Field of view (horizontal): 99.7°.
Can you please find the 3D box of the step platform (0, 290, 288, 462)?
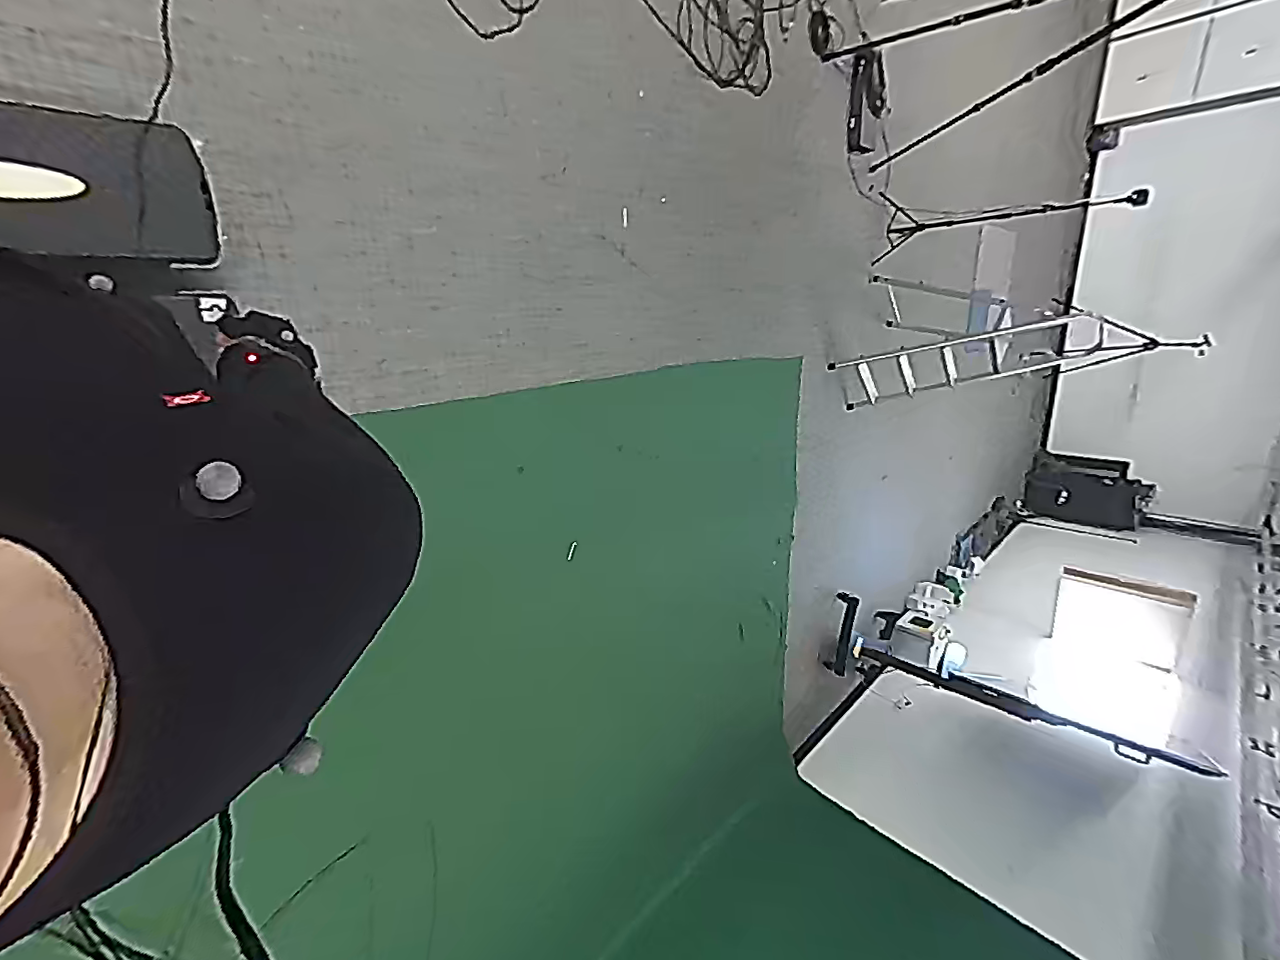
[{"bbox_3d":[-1.041,-0.178,0.946,0.684,0.204,0.286,-18,113,-42],"label":"step platform"}]
